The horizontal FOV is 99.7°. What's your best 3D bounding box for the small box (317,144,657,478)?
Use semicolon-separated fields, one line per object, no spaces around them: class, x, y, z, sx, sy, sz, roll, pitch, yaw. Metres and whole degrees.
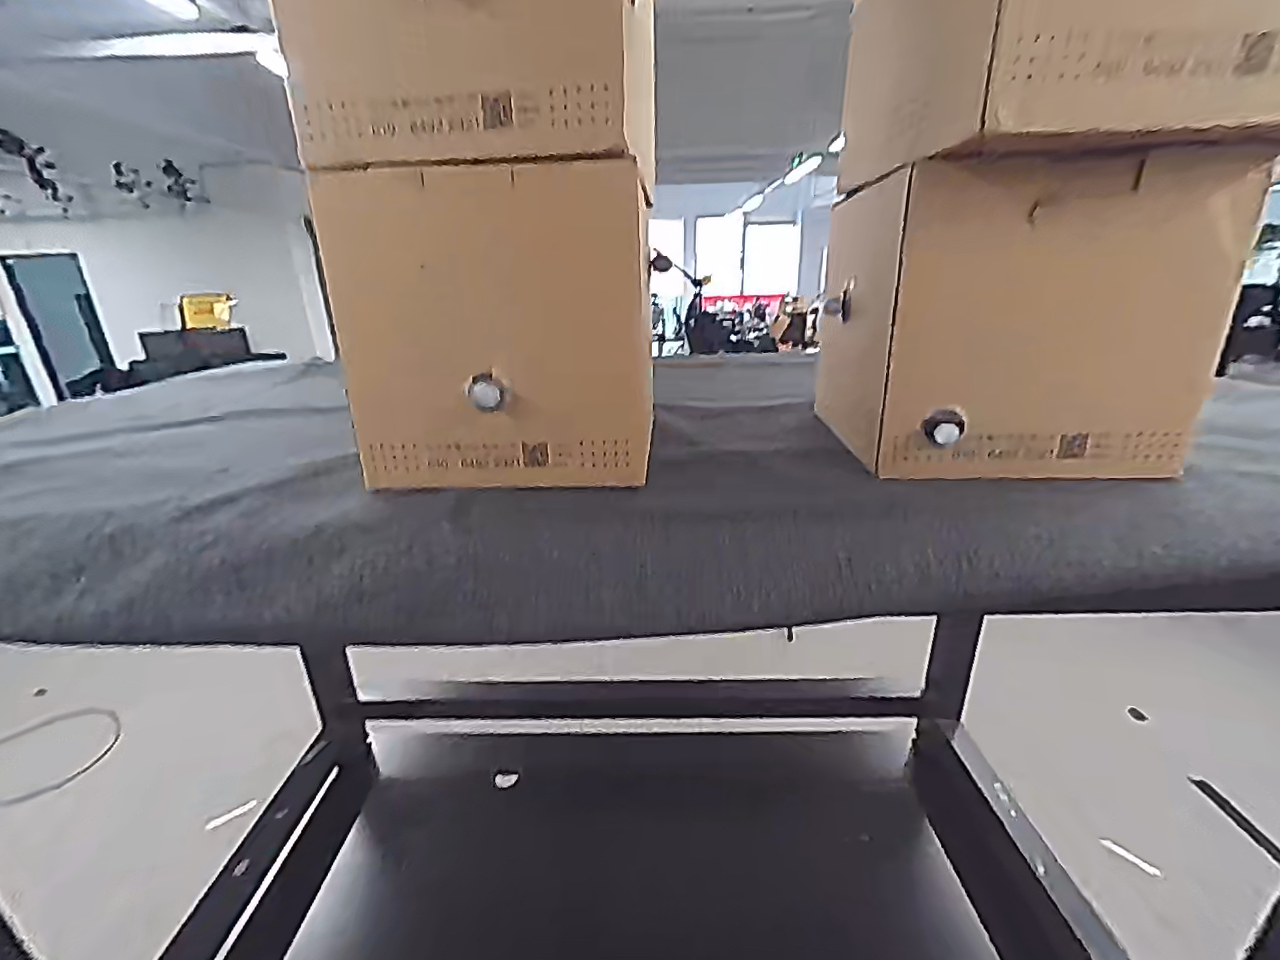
small box;-0.075;-0.106;0.365;0.168;0.176;0.179;-1;18;3

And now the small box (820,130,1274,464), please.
small box;0.224;-0.112;0.361;0.168;0.176;0.179;0;19;5

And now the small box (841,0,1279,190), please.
small box;0.219;-0.254;0.276;0.168;0.176;0.179;-1;19;-1

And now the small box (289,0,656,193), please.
small box;-0.078;-0.262;0.314;0.168;0.176;0.179;1;19;5
